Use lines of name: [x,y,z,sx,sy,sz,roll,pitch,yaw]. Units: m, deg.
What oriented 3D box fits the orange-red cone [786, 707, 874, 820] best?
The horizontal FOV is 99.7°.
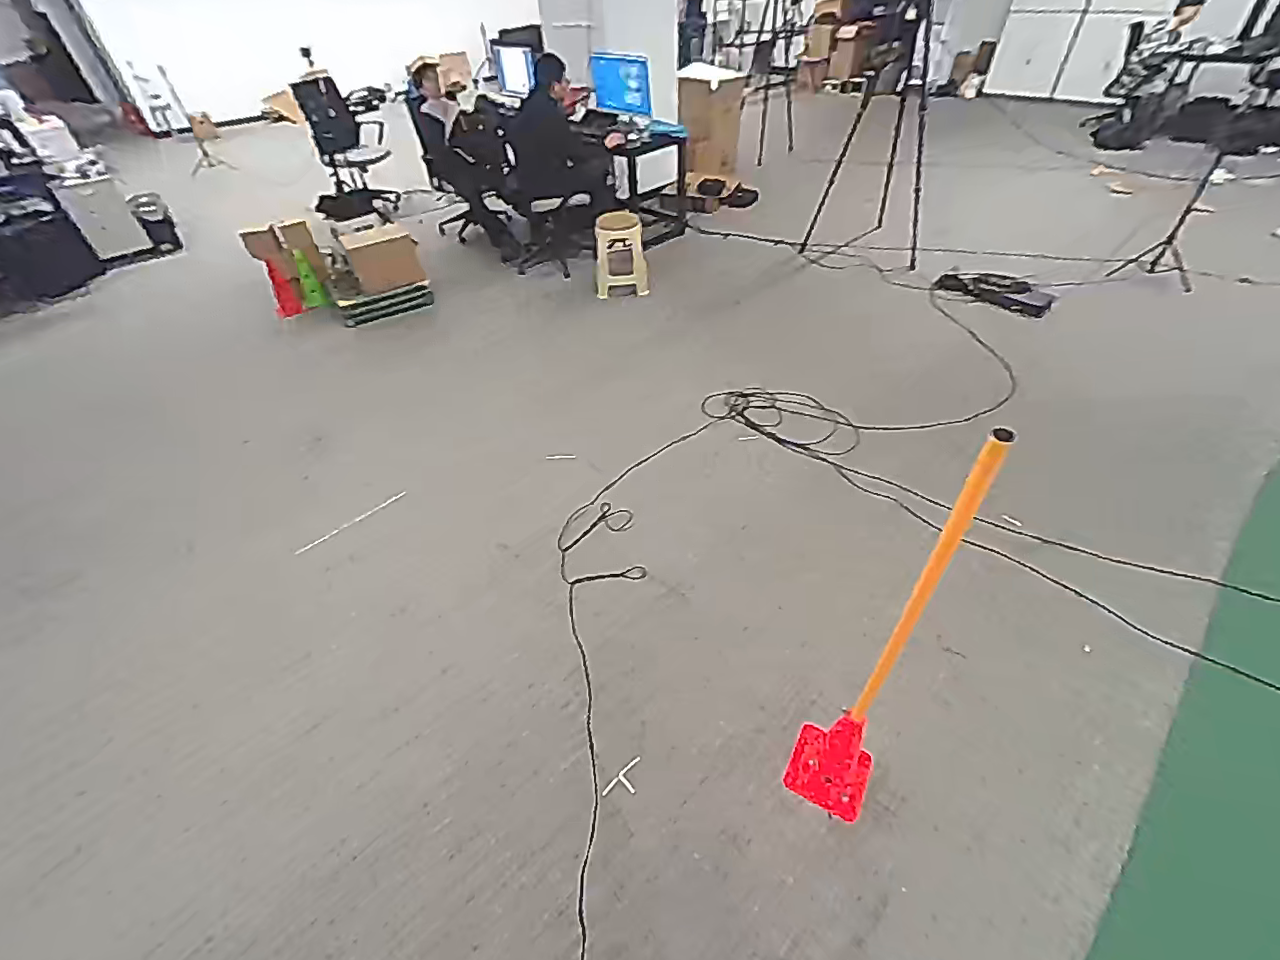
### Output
orange-red cone: [0.513,0.665,1.362,0.198,0.360,0.199,22,48,24]
